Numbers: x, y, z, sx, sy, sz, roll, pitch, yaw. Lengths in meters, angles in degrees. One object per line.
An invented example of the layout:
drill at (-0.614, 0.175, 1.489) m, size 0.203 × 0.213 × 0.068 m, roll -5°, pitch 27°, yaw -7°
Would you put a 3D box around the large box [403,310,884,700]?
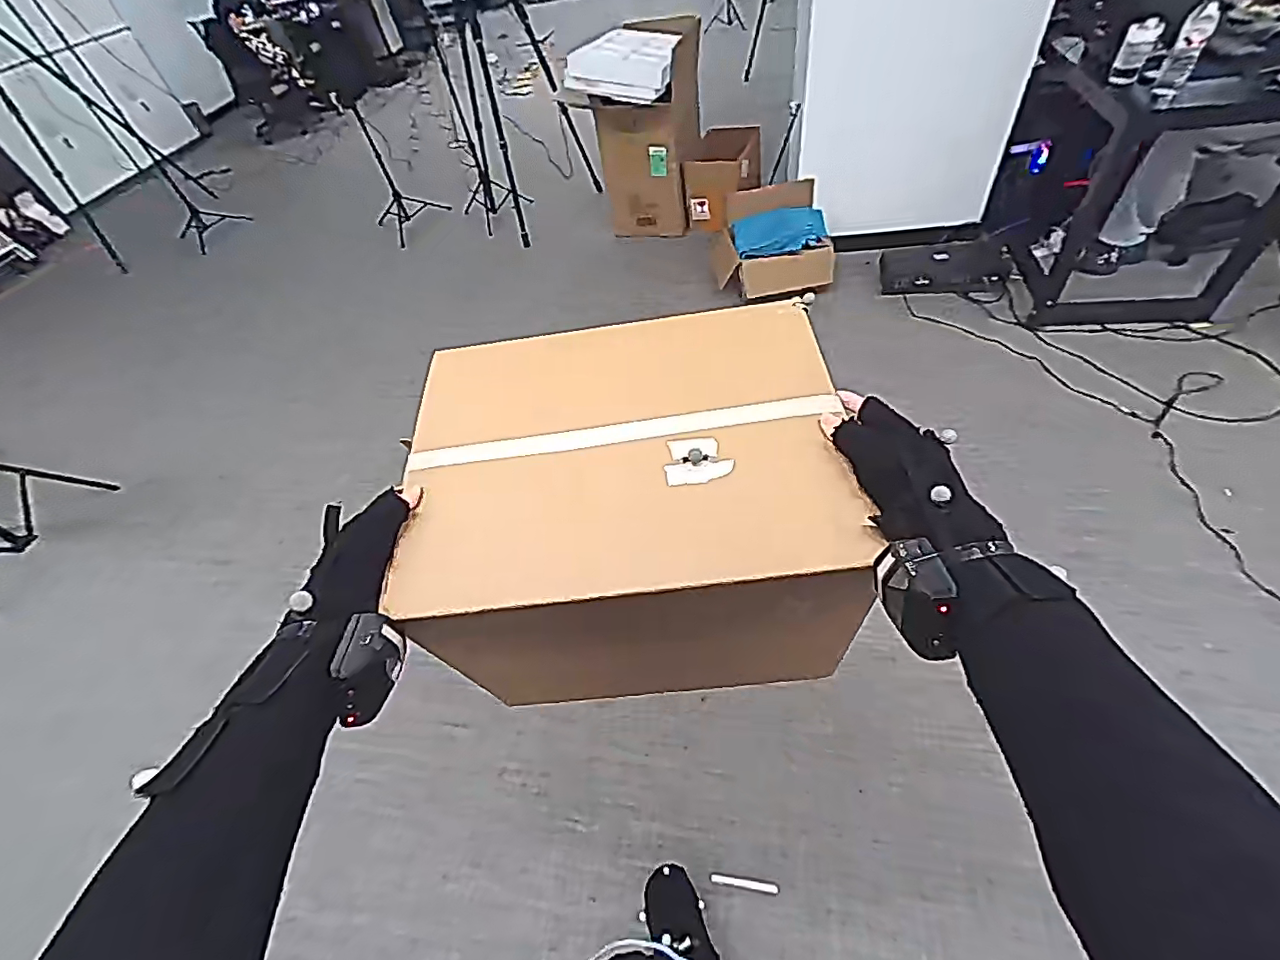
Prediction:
large box at (0.003, 0.046, 0.641) m, size 0.408 × 0.320 × 0.320 m, roll -7°, pitch 55°, yaw 3°
